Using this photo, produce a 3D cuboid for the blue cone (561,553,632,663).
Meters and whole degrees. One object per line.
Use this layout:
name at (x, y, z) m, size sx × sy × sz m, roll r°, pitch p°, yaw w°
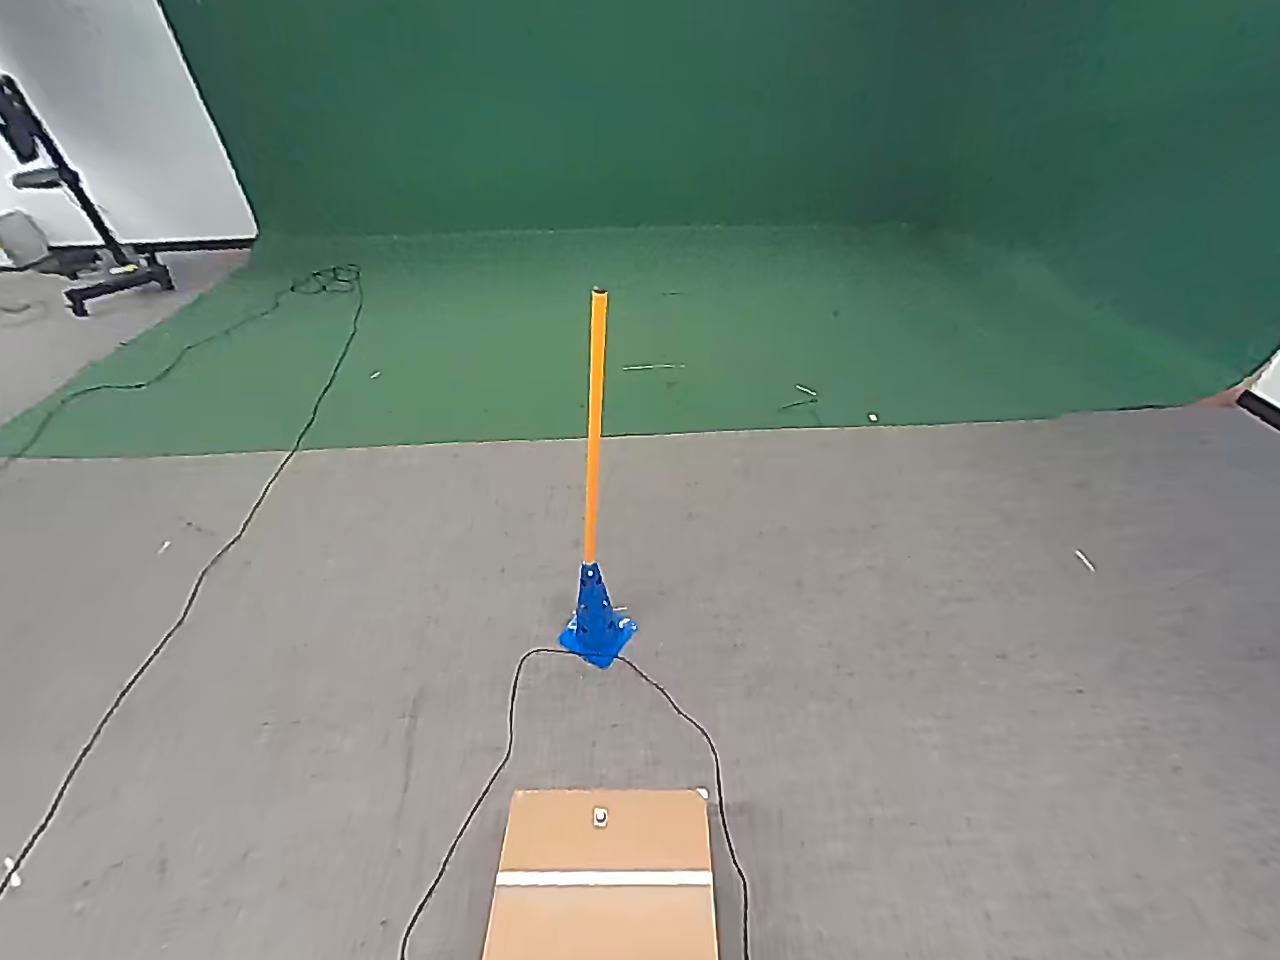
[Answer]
blue cone at (-0.140, 0.358, 1.642) m, size 0.192 × 0.380 × 0.193 m, roll 21°, pitch 44°, yaw 22°
